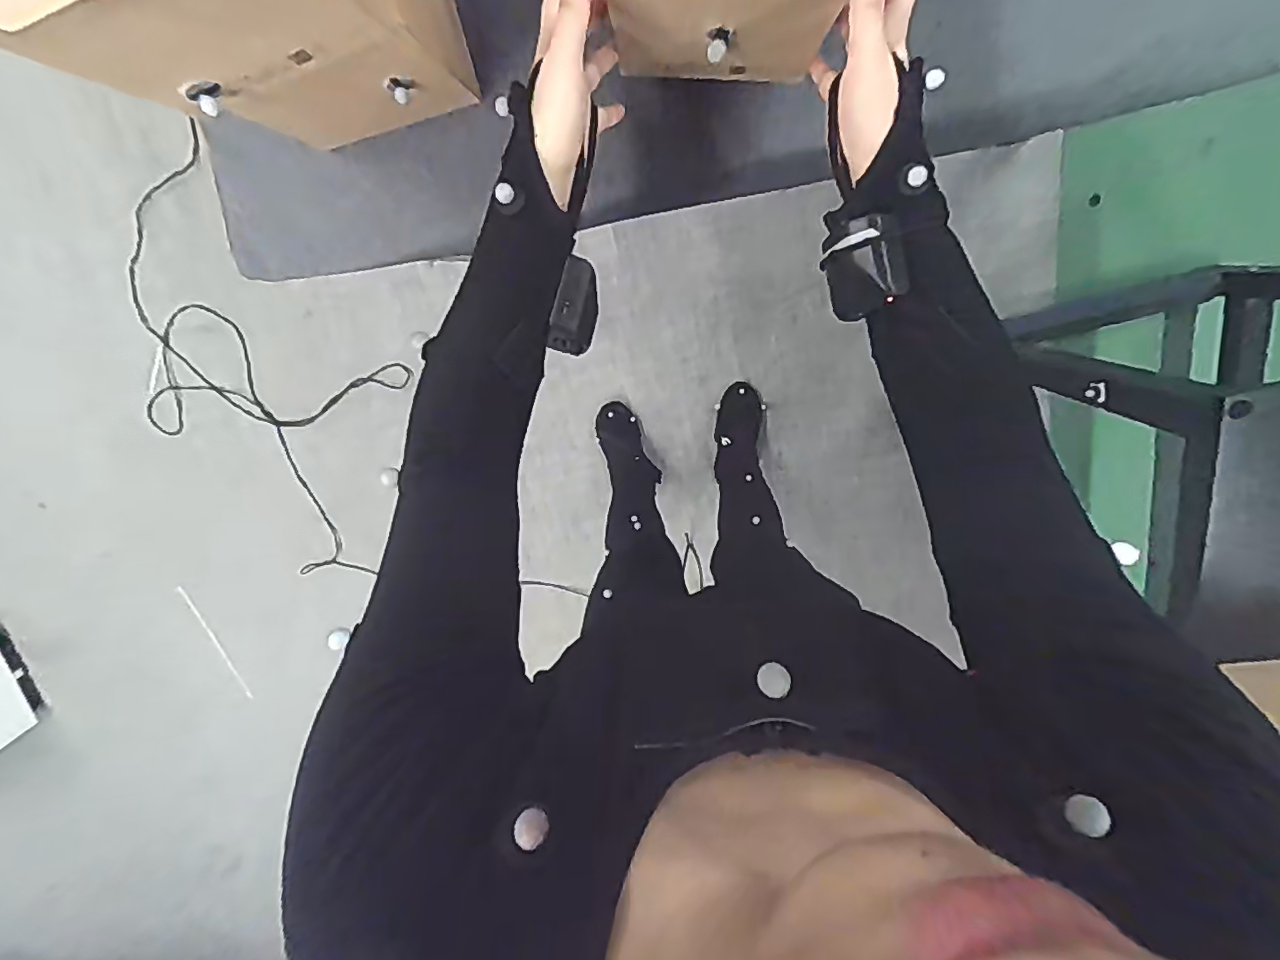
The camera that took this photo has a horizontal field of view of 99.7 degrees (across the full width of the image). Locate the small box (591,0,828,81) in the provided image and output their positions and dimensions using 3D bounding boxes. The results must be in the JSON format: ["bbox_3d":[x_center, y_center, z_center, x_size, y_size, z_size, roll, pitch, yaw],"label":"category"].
[{"bbox_3d":[0.056,-0.414,0.385,0.168,0.176,0.179,3,108,3],"label":"small box"}]

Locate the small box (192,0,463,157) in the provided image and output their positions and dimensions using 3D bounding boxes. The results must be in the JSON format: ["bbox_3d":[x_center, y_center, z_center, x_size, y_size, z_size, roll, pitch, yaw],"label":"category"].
[{"bbox_3d":[-0.267,-0.393,0.444,0.179,0.176,0.168,-11,107,10],"label":"small box"}]
